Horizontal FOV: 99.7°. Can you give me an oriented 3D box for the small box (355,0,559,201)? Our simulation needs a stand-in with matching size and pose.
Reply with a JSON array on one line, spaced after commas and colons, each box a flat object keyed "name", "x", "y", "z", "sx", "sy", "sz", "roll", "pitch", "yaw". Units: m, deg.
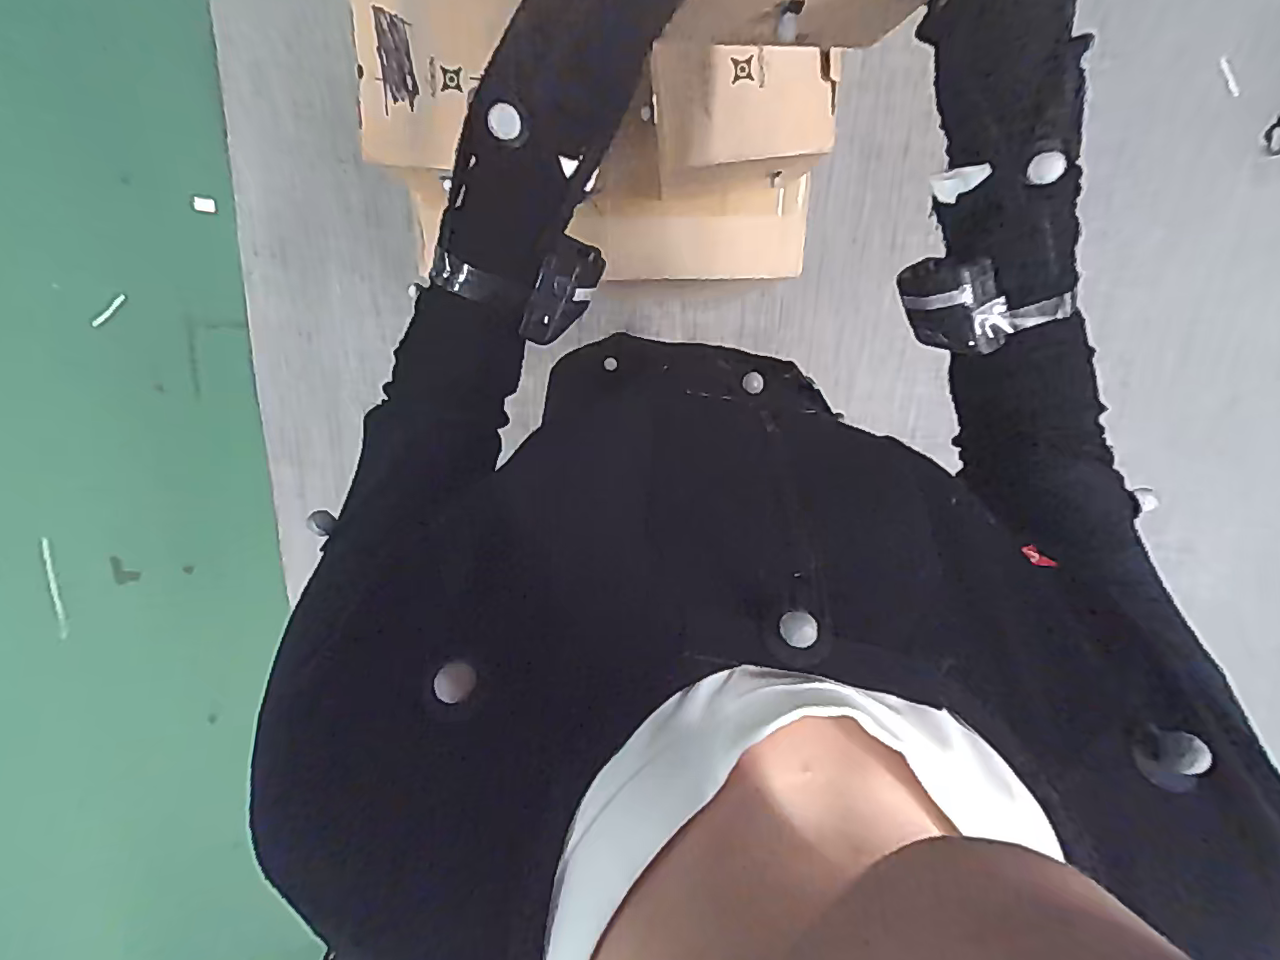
[{"name": "small box", "x": -0.195, "y": -0.429, "z": 0.621, "sx": 0.179, "sy": 0.176, "sz": 0.168, "roll": 3, "pitch": 108, "yaw": -1}]

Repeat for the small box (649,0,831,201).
[{"name": "small box", "x": 0.105, "y": -0.434, "z": 0.620, "sx": 0.179, "sy": 0.176, "sz": 0.168, "roll": -7, "pitch": 106, "yaw": 3}]
